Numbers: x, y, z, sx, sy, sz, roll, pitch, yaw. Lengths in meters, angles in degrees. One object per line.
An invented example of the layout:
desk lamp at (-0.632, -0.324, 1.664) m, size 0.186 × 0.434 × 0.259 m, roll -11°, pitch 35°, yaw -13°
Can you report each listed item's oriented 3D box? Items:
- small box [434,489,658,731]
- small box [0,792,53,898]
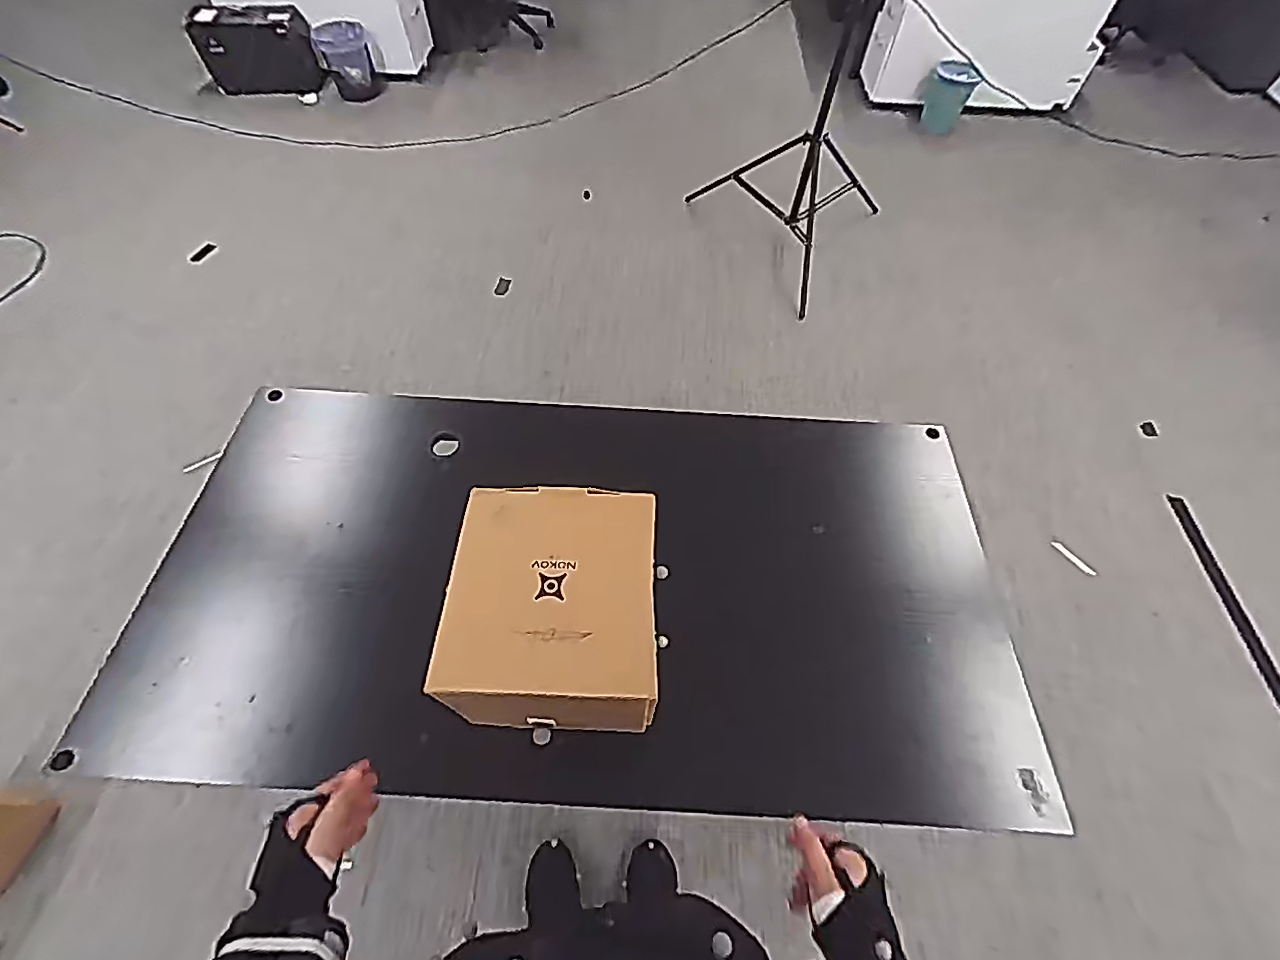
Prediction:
small box at (-0.070, 0.126, 0.509) m, size 0.168 × 0.176 × 0.179 m, roll 1°, pitch 58°, yaw 0°
small box at (-1.399, 0.756, 1.118) m, size 0.168 × 0.176 × 0.179 m, roll 10°, pitch 58°, yaw 5°
